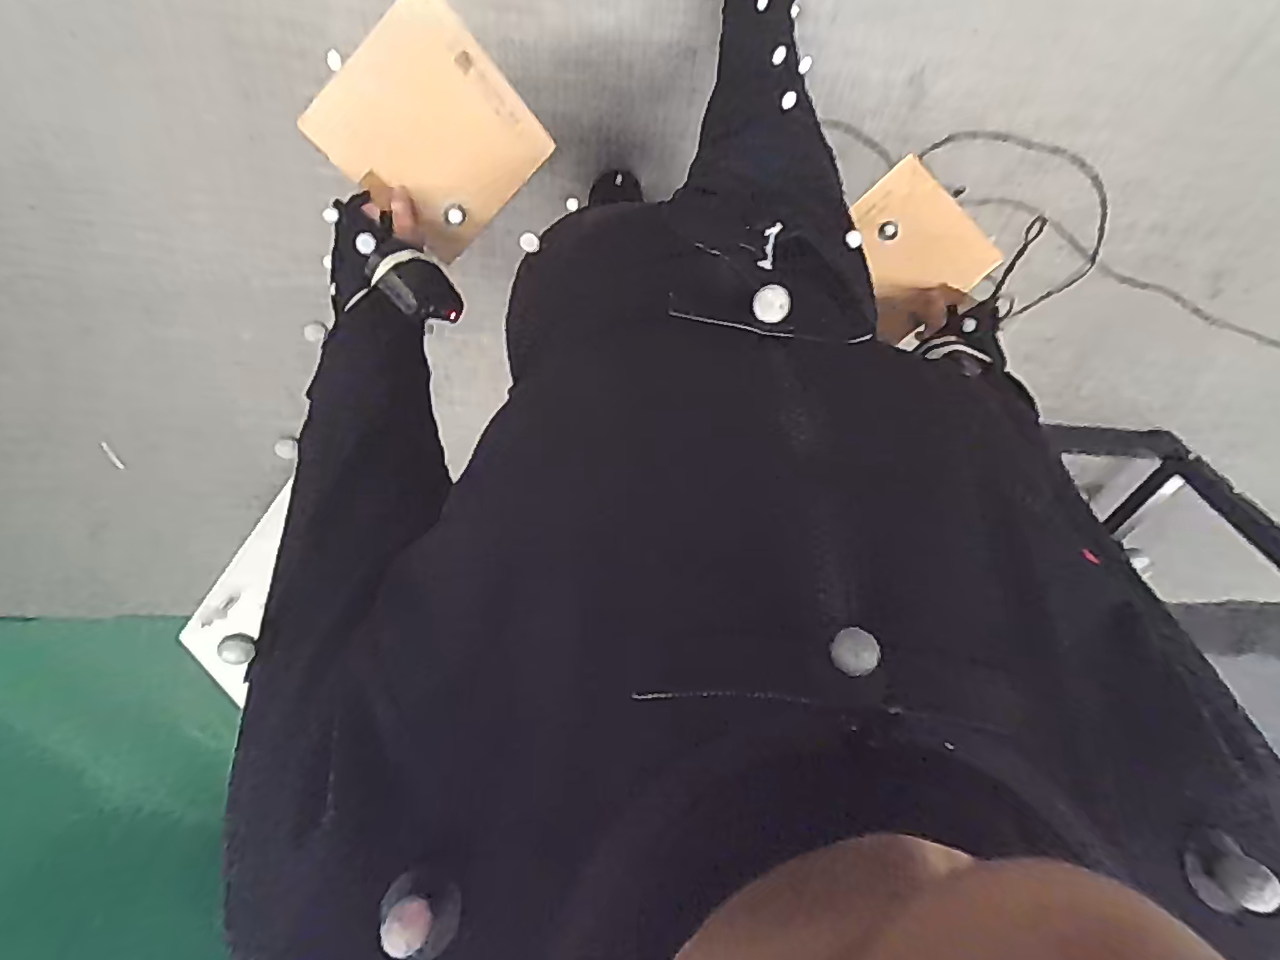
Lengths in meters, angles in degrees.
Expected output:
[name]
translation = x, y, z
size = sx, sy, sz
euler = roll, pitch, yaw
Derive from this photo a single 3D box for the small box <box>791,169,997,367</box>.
[small box]
translation = 0.322, -0.269, 0.719
size = 0.168, 0.179, 0.176
euler = -40, 85, 22
